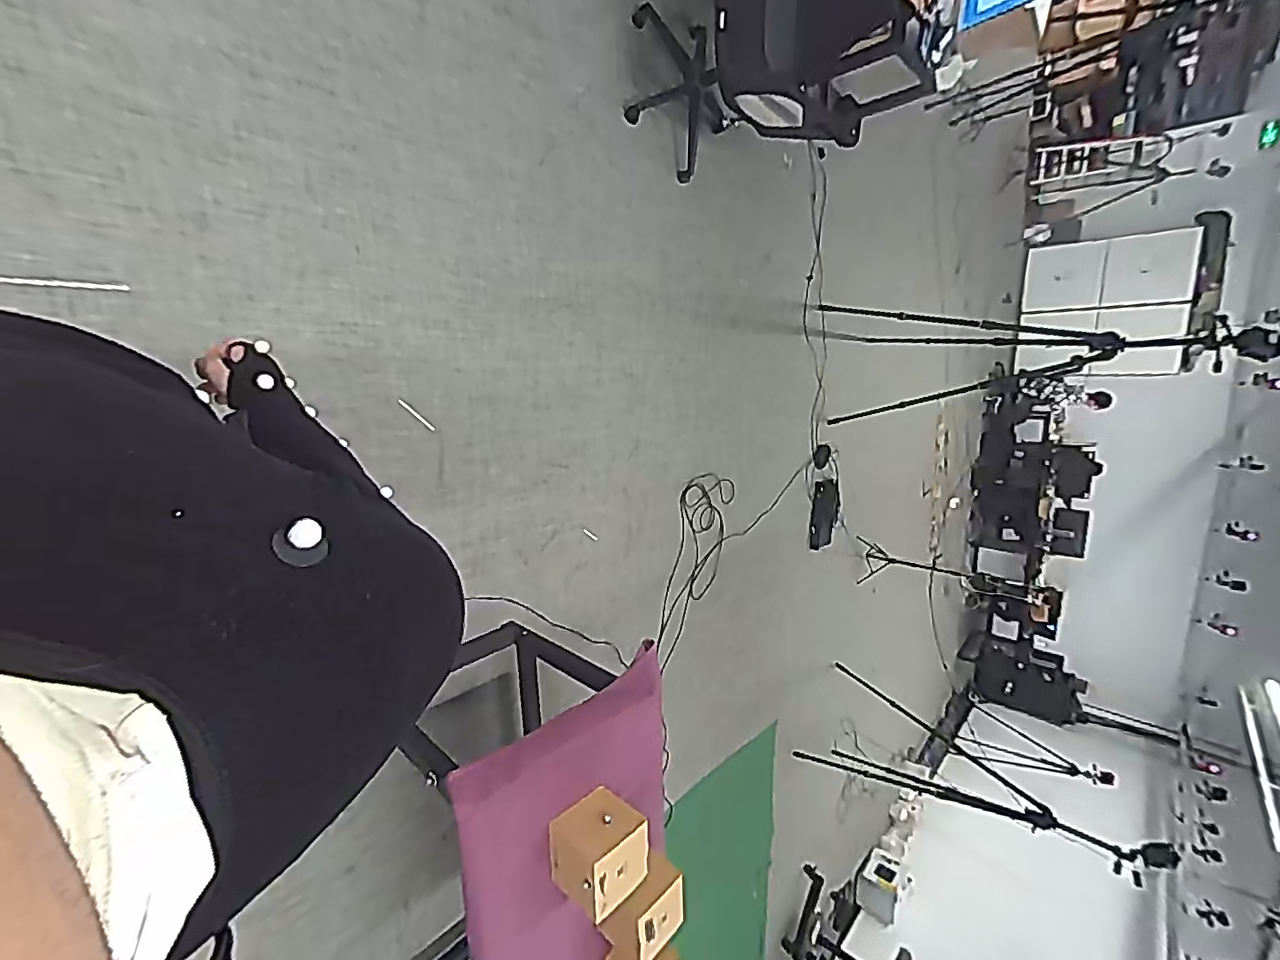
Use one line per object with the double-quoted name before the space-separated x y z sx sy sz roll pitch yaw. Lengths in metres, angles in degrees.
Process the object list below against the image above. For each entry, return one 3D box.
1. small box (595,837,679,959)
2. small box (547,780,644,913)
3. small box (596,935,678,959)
"small box" -0.013 1.122 1.475 0.179 0.176 0.168 -15 108 -46
"small box" -0.108 0.884 1.327 0.179 0.176 0.168 -12 107 -45
"small box" -0.009 1.401 1.533 0.179 0.176 0.168 -15 107 -44
